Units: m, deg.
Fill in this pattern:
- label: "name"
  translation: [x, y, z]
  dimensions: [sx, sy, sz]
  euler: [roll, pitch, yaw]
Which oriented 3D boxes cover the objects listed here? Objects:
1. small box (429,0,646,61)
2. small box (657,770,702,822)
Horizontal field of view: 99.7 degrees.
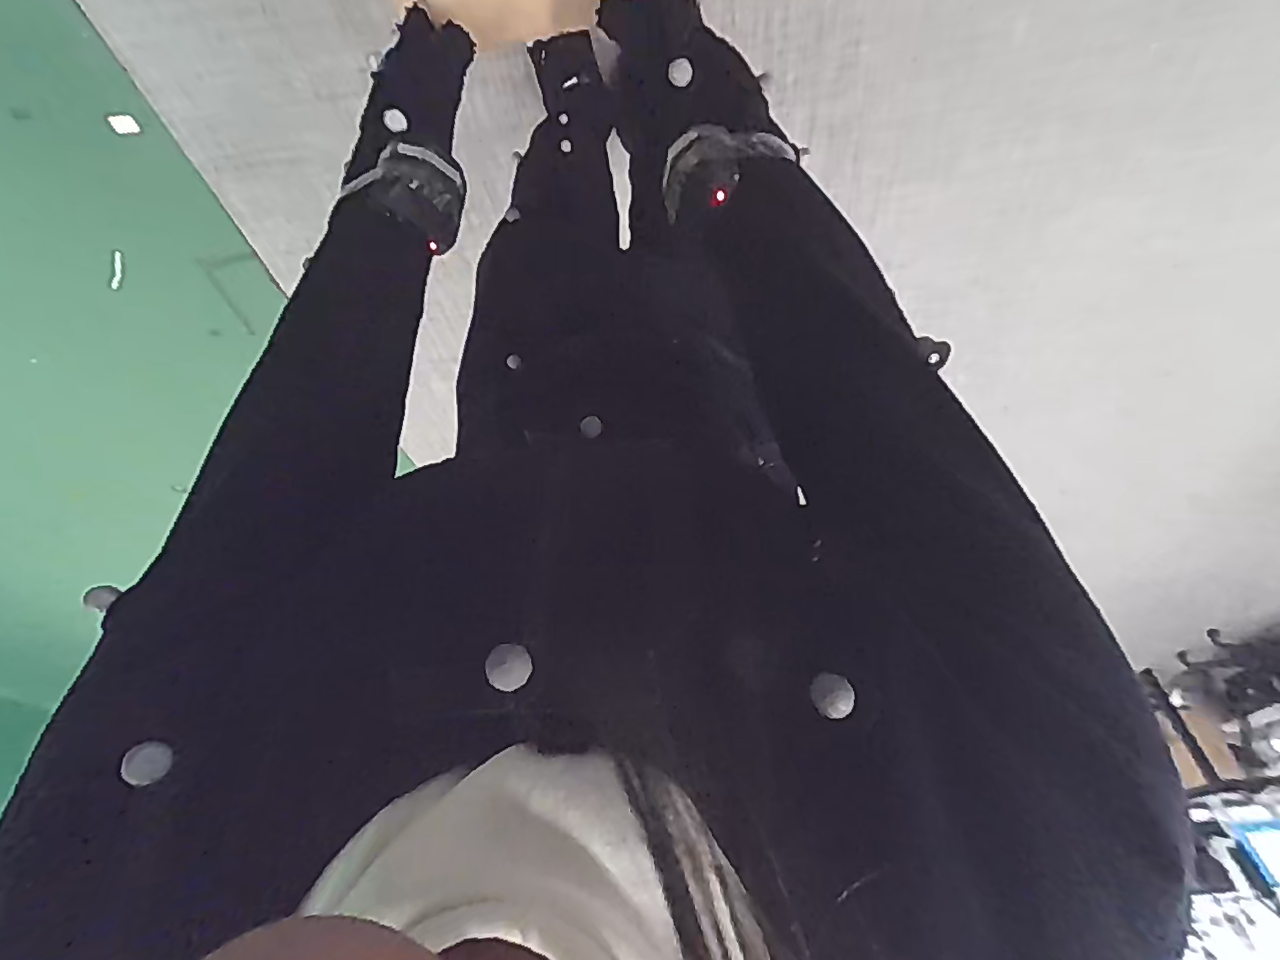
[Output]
- label: "small box"
  translation: [-0.094, -0.486, 0.448]
  dimensions: [0.179, 0.176, 0.168]
  euler: [-6, 140, 8]
- label: "small box"
  translation: [0.168, 1.350, 2.313]
  dimensions: [0.168, 0.176, 0.179]
  euler: [-8, 140, 8]
